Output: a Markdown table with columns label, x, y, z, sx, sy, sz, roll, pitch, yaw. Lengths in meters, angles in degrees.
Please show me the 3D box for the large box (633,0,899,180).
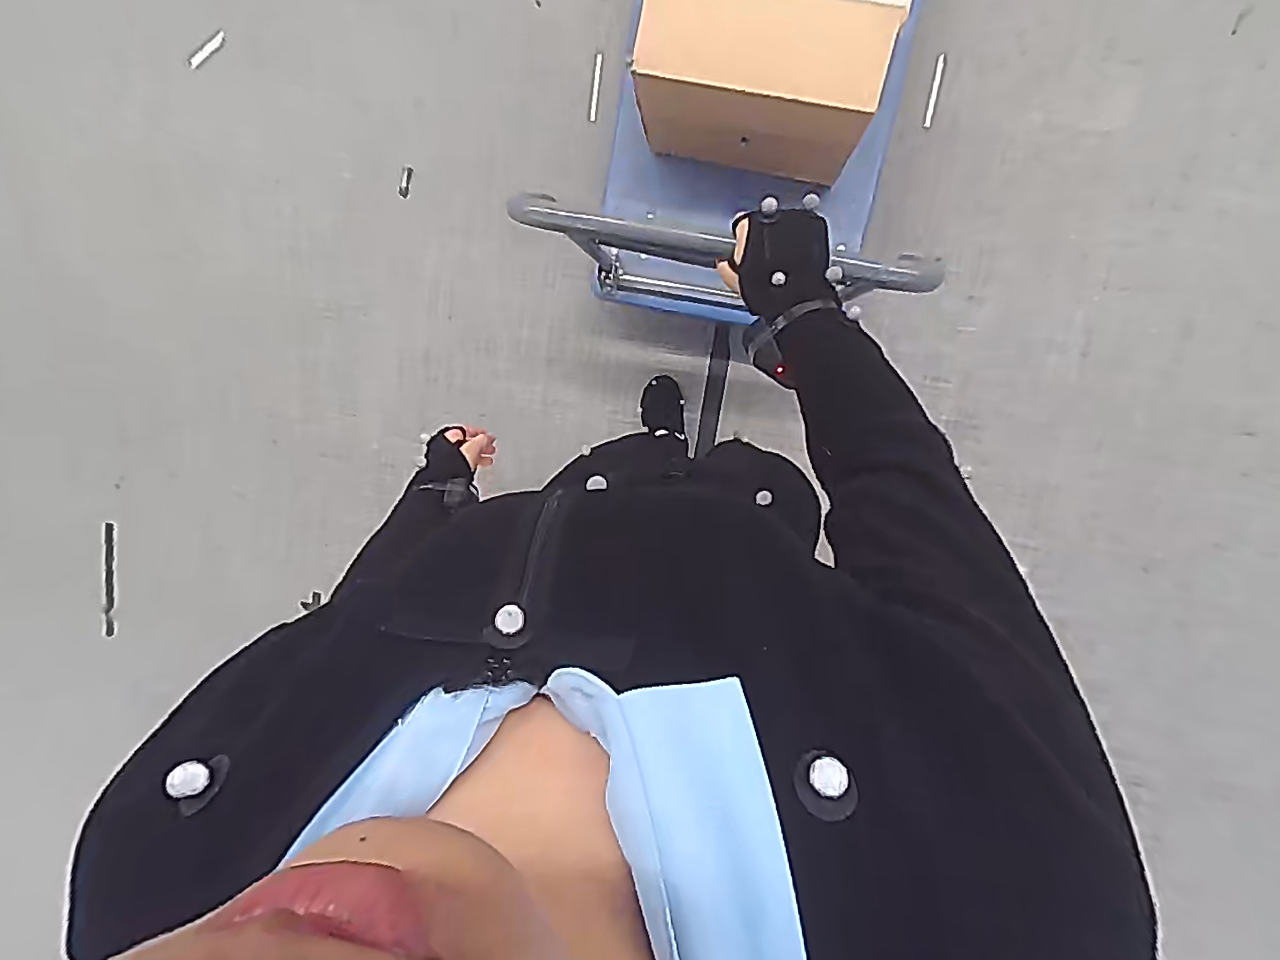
| label | x | y | z | sx | sy | sz | roll | pitch | yaw |
| --- | --- | --- | --- | --- | --- | --- | --- | --- | --- |
| large box | 0.232 | -0.803 | 1.007 | 0.408 | 0.320 | 0.320 | 14 | 99 | 6 |
